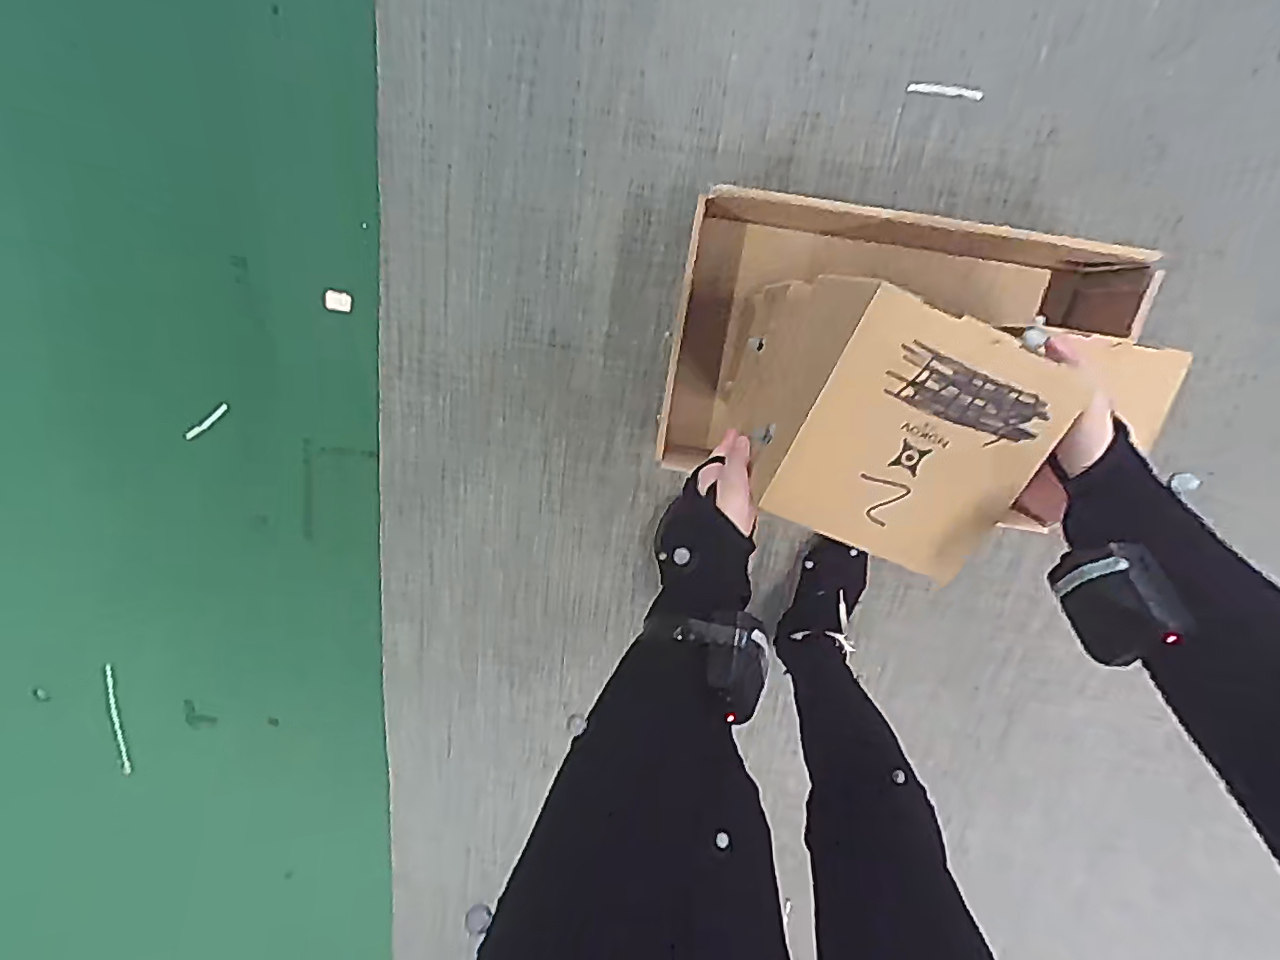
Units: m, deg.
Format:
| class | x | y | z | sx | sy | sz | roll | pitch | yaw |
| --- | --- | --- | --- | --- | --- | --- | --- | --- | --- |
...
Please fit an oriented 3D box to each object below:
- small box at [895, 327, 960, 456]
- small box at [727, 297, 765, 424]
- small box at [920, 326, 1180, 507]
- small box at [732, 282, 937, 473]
| class | x | y | z | sx | sy | sz | roll | pitch | yaw |
| --- | --- | --- | --- | --- | --- | --- | --- | --- | --- |
| small box | 0.492 | -0.133 | 0.827 | 0.168 | 0.176 | 0.179 | 9 | 108 | 1 |
| small box | 0.233 | -0.177 | 0.826 | 0.168 | 0.176 | 0.179 | 8 | 108 | -1 |
| small box | 0.480 | -0.089 | 0.670 | 0.168 | 0.176 | 0.179 | 11 | 108 | 2 |
| small box | 0.220 | -0.130 | 0.668 | 0.168 | 0.176 | 0.179 | 15 | 107 | -1 |
